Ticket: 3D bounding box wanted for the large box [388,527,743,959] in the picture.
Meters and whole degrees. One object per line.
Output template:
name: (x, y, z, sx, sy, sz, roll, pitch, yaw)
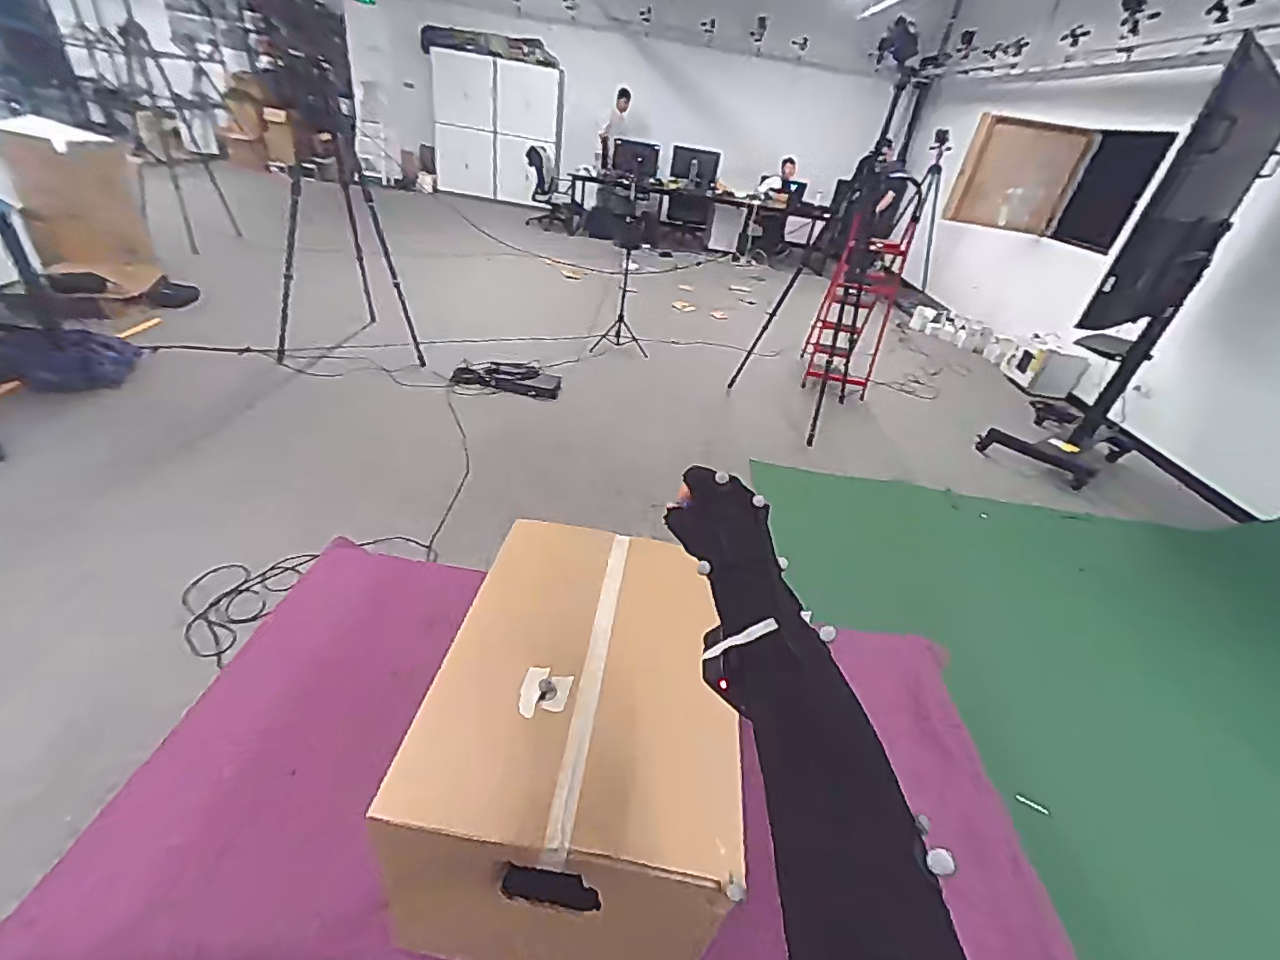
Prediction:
large box: (-0.068, 0.324, 0.695, 0.320, 0.320, 0.408, 11, 34, 1)
